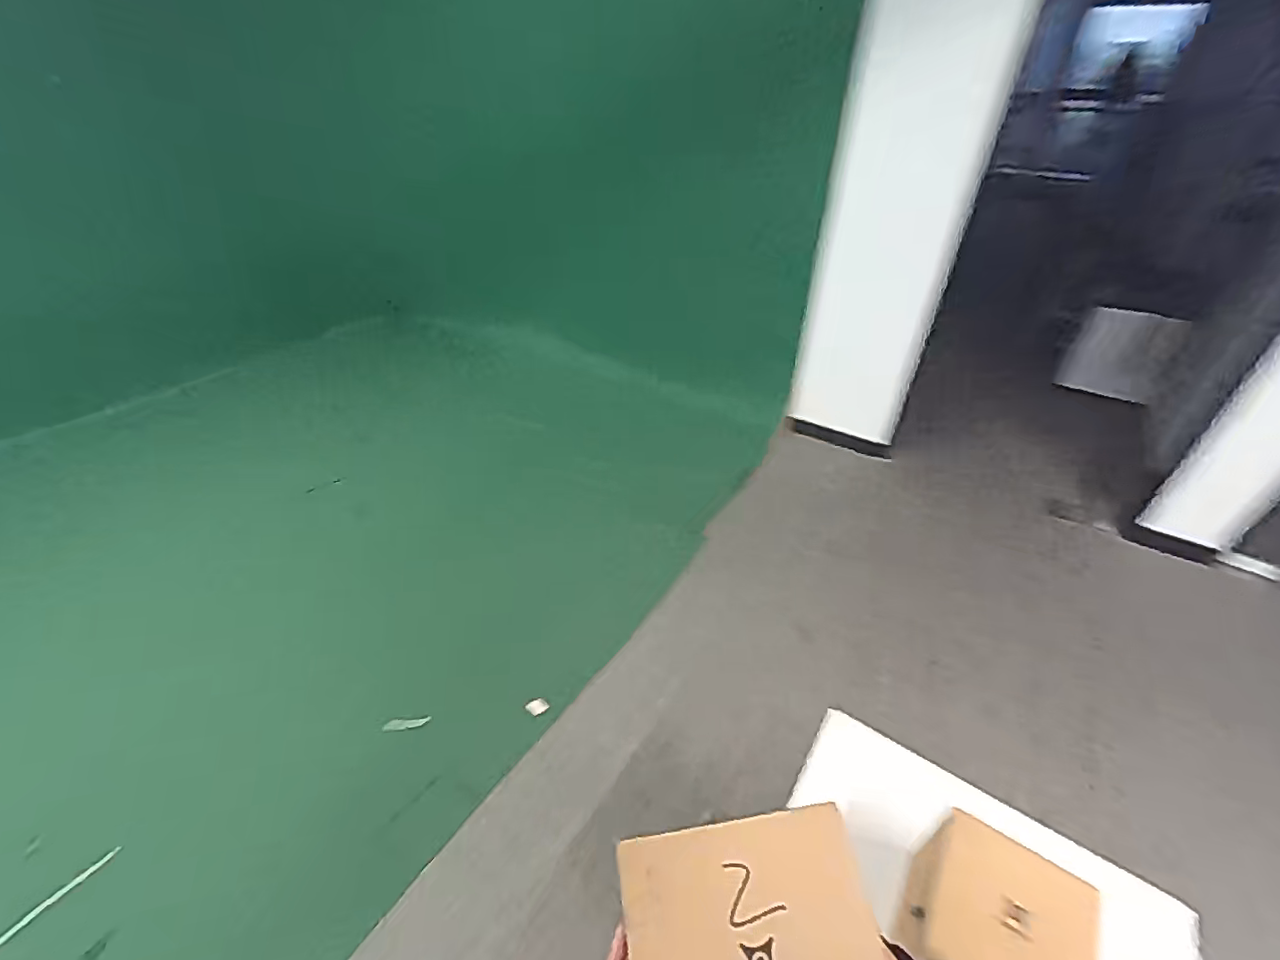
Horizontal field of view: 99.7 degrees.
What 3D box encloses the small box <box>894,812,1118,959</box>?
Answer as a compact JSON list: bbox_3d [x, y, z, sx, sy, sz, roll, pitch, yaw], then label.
[{"bbox_3d":[0.424,0.554,0.642,0.168,0.176,0.179,23,43,28],"label":"small box"}]
